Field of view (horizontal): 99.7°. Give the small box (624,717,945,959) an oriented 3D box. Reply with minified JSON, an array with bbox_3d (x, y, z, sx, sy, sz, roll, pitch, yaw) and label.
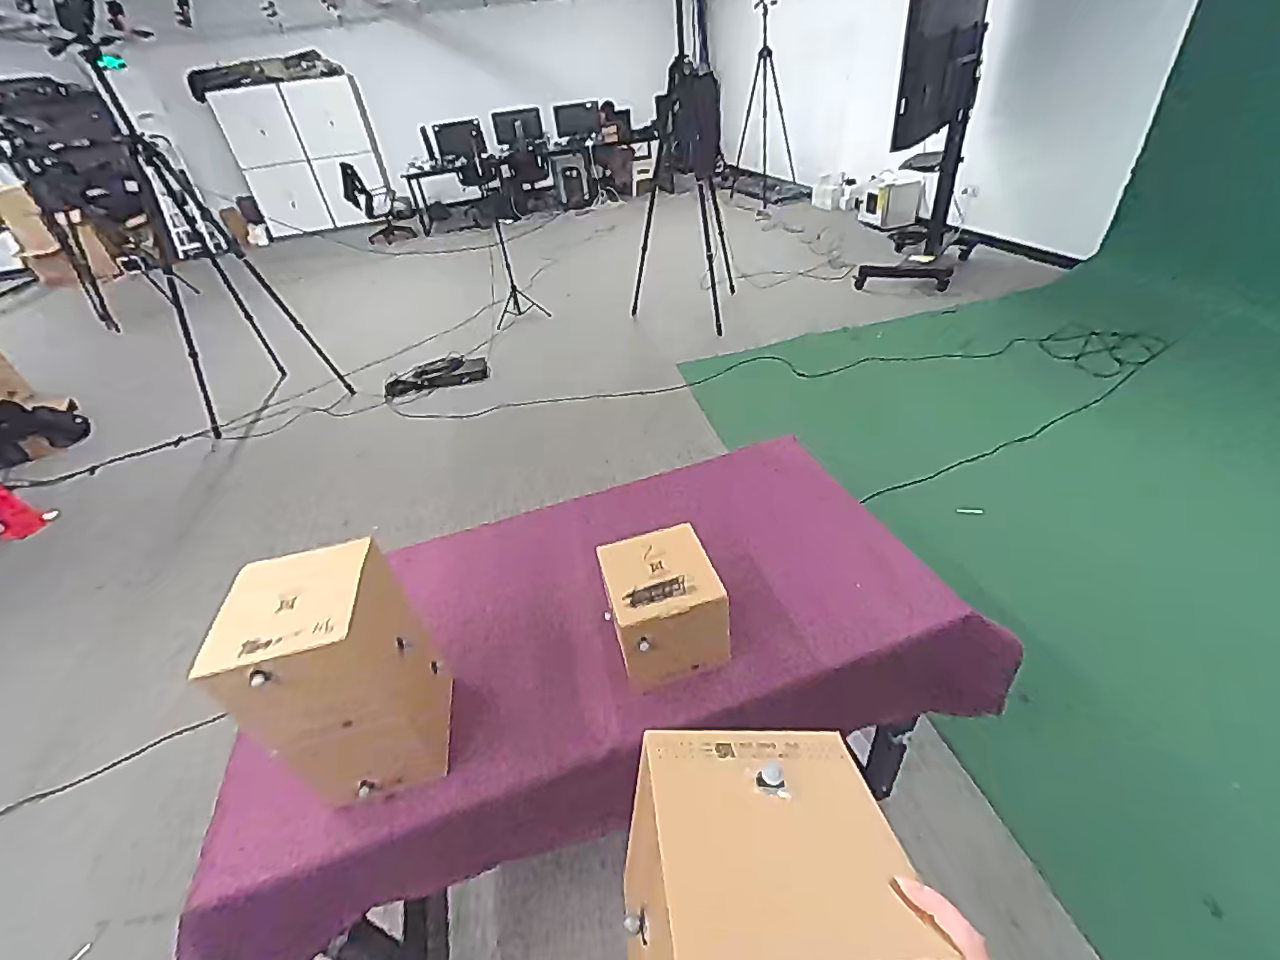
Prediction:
[{"bbox_3d":[0.079,0.308,0.401,0.168,0.179,0.176,3,19,-7],"label":"small box"}]

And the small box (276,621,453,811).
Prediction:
[{"bbox_3d":[-0.386,0.345,0.798,0.168,0.176,0.179,-14,38,-6],"label":"small box"}]

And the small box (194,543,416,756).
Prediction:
[{"bbox_3d":[-0.407,0.215,0.699,0.168,0.176,0.179,-15,36,-5],"label":"small box"}]
